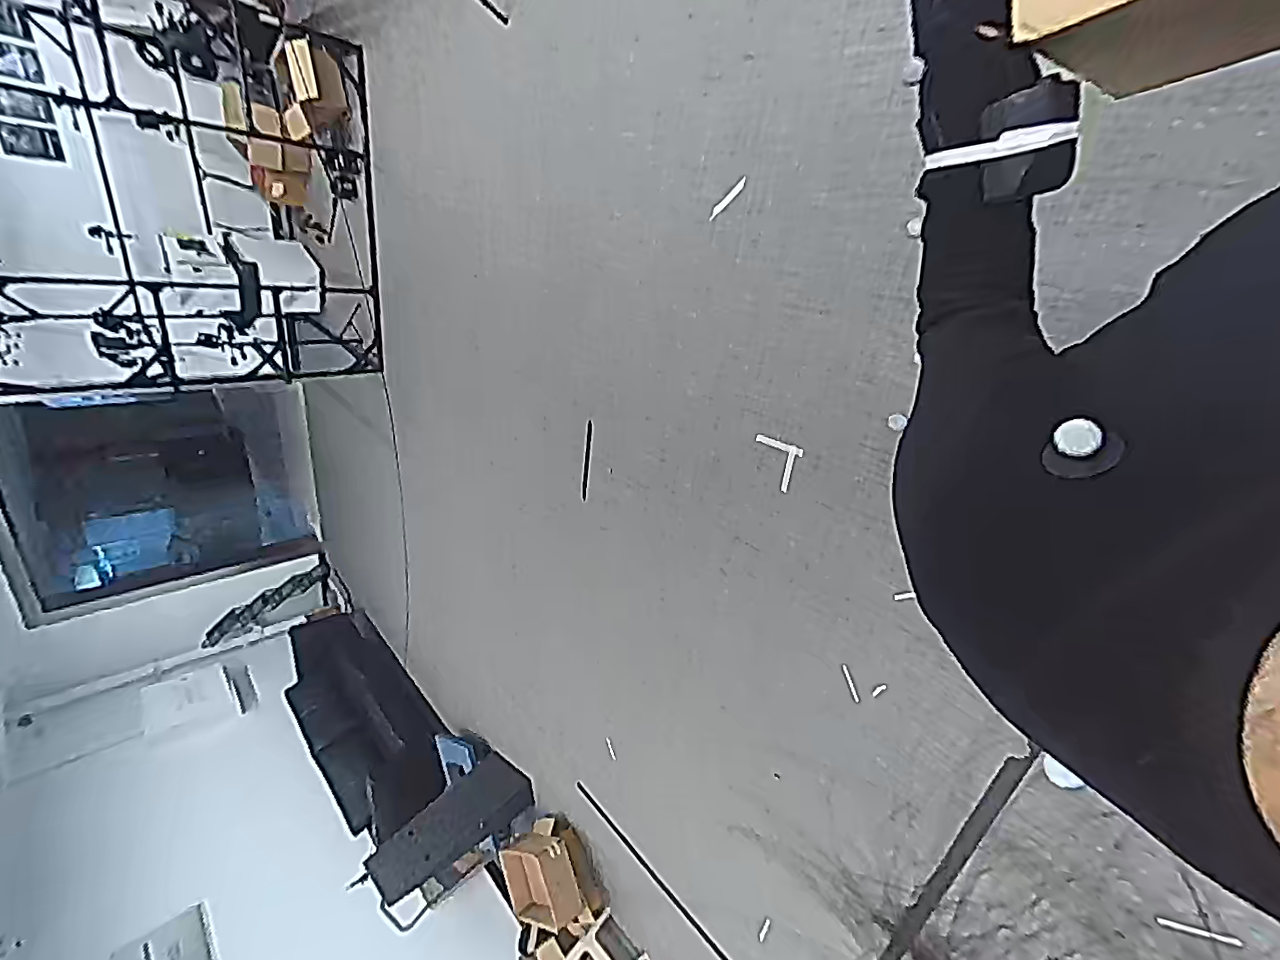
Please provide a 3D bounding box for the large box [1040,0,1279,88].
[{"bbox_3d":[0.460,-0.448,0.239,0.408,0.320,0.320,10,116,47],"label":"large box"}]
